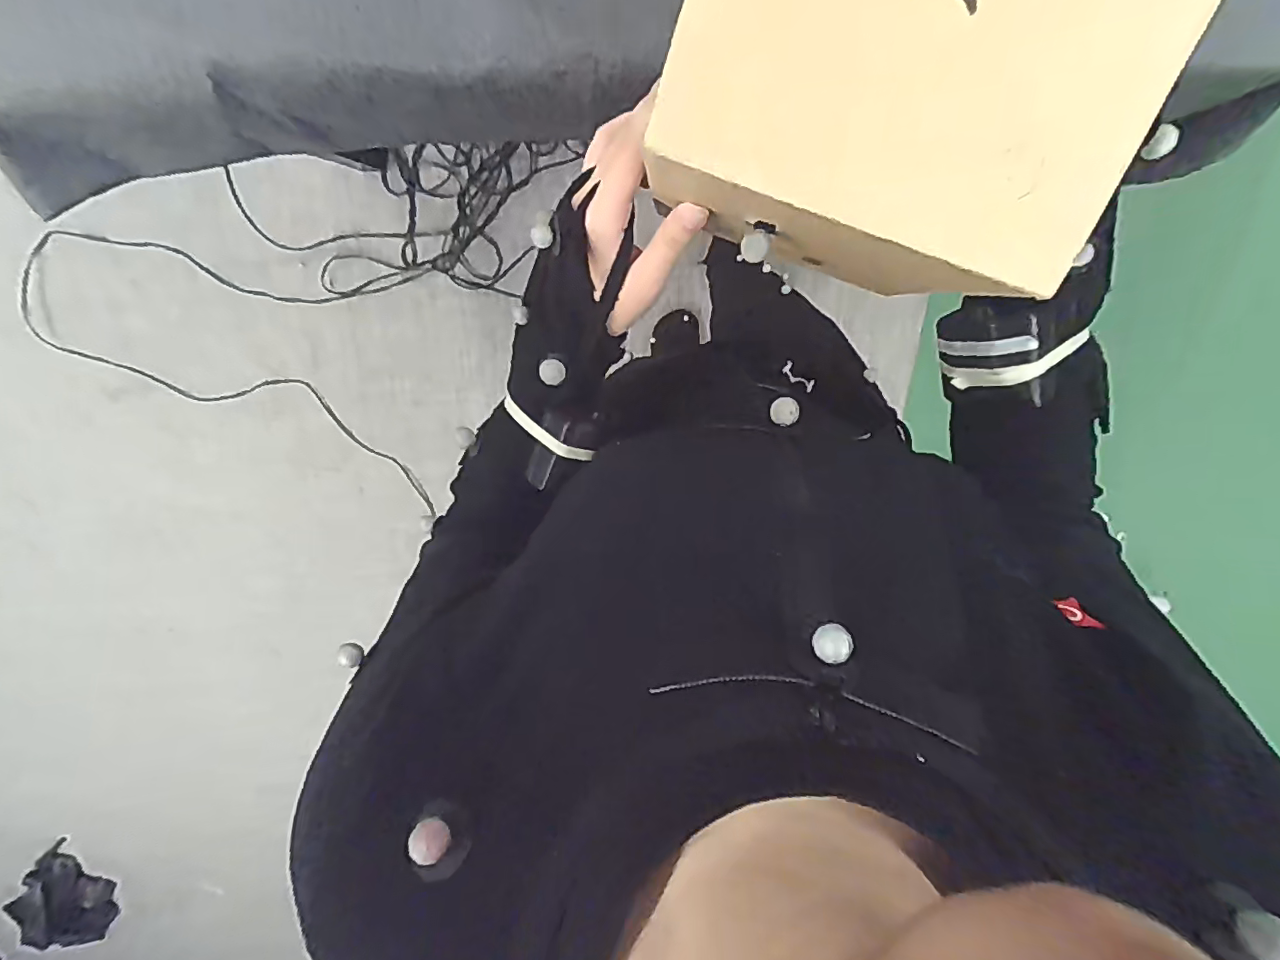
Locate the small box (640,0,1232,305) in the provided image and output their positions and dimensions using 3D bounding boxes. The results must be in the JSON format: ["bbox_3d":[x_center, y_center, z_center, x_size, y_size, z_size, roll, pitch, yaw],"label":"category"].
[{"bbox_3d":[0.110,-0.192,0.245,0.168,0.176,0.179,19,108,-2],"label":"small box"}]
